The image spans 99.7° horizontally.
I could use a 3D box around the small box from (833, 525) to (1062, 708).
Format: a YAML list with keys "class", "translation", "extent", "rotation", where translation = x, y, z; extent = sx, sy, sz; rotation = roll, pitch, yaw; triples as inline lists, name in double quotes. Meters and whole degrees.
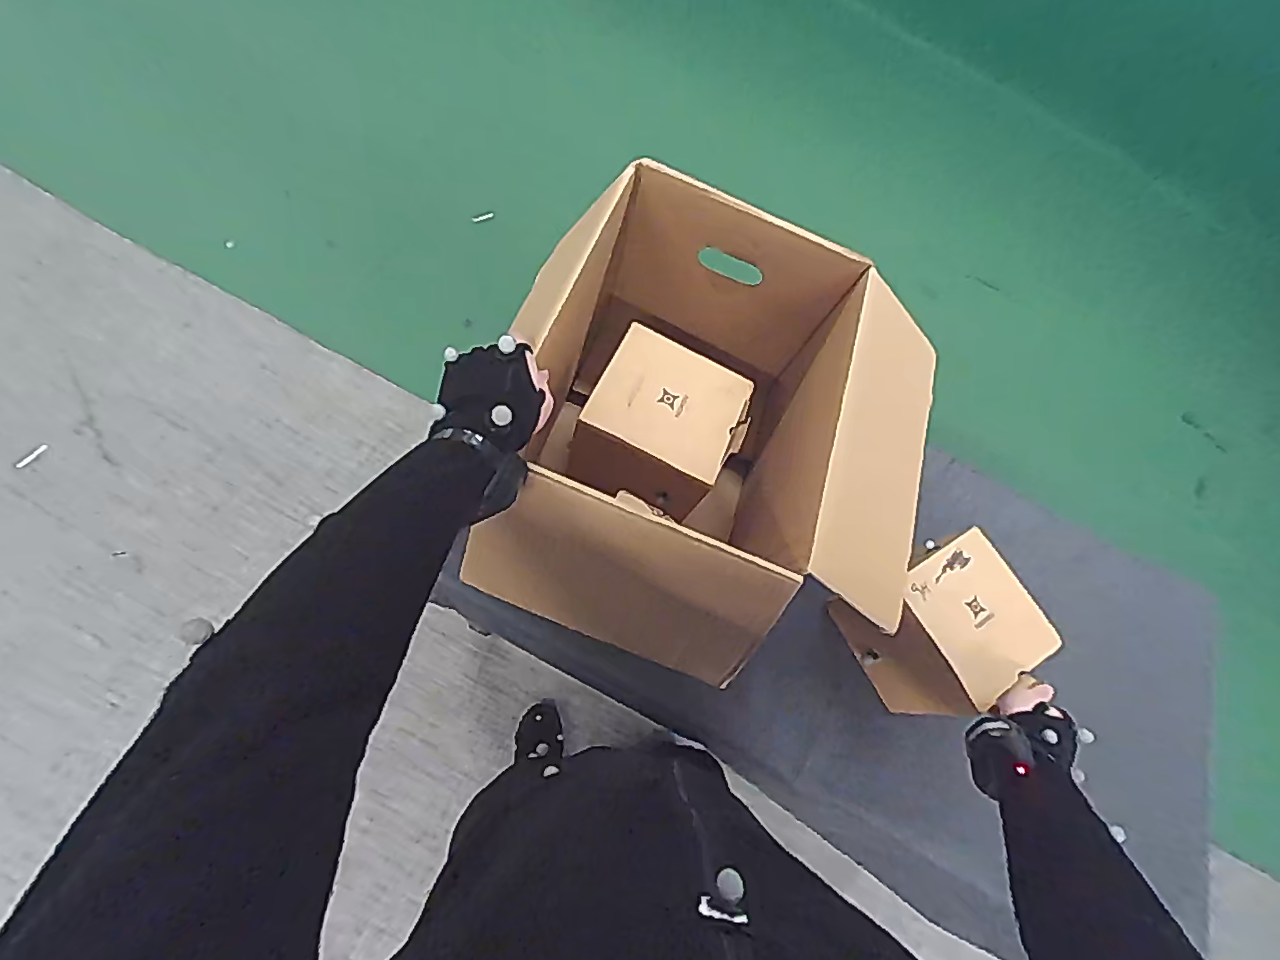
- class: "small box"
  translation: [0.407, 0.187, 0.745]
  extent: [0.168, 0.176, 0.179]
  rotation: [-24, 77, -18]
